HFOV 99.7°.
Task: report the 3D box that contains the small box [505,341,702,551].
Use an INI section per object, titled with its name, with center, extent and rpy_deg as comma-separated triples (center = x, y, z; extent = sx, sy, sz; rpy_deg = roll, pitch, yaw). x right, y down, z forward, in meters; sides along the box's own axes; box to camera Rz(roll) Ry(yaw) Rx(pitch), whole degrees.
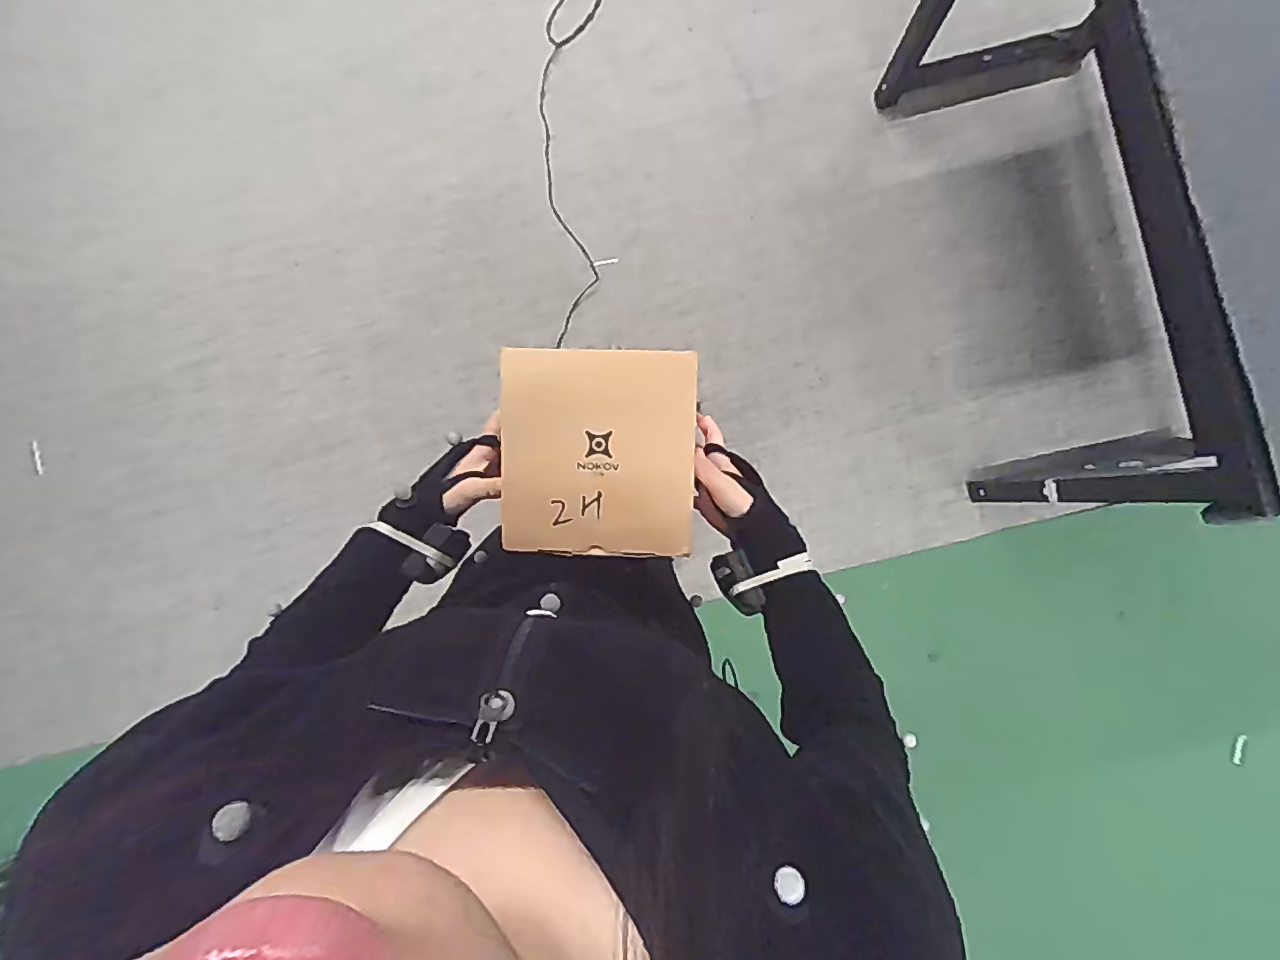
[small box]
center = -0.031, -0.037, 0.540
extent = 0.168, 0.176, 0.179
rpy_deg = 2, 97, 2
